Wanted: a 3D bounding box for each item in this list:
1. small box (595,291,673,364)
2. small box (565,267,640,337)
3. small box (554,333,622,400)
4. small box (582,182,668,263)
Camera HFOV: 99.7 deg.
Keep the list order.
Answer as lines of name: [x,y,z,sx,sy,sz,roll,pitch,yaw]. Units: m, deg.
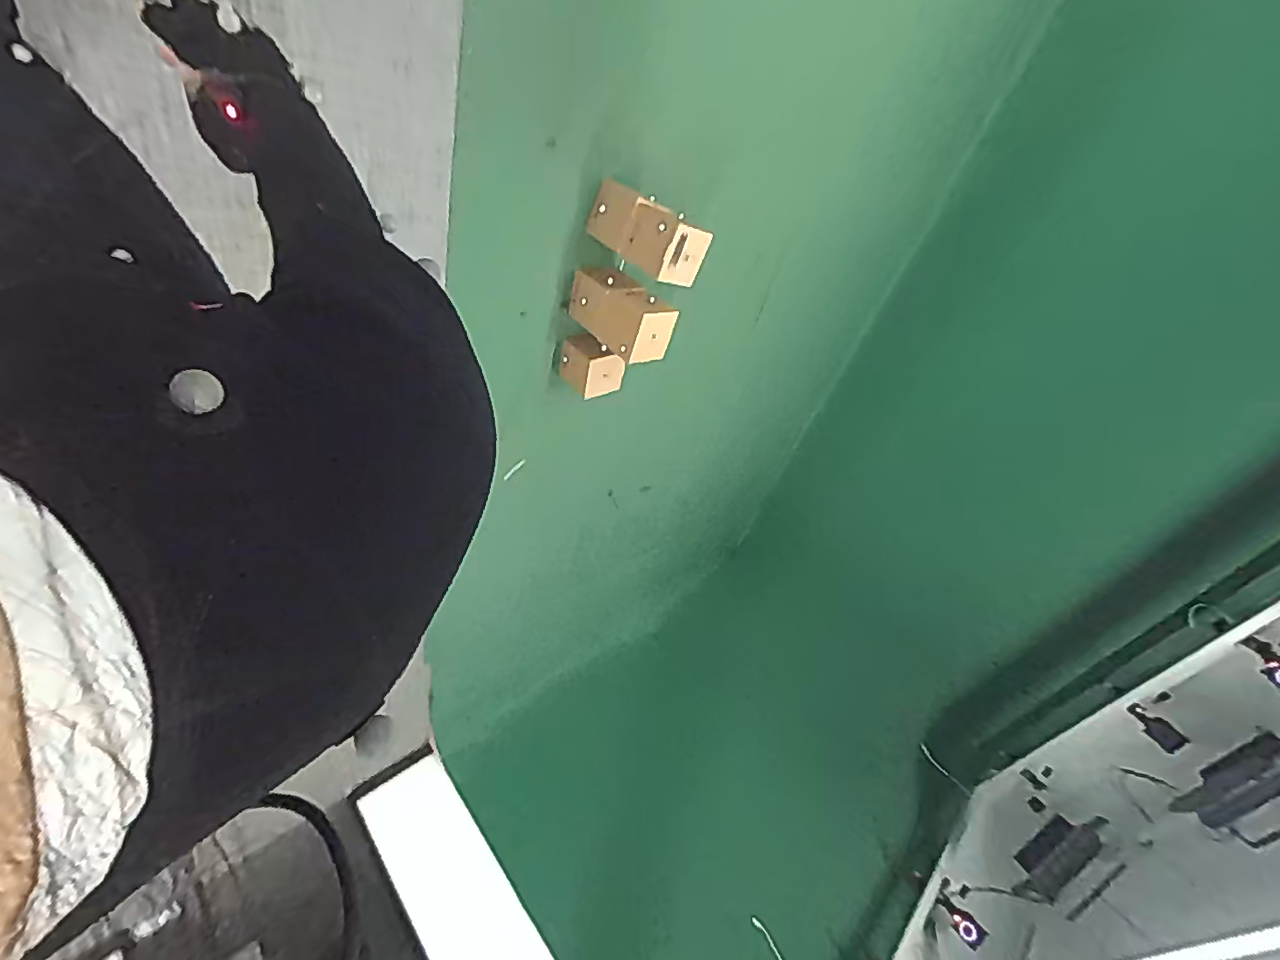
small box: [-0.024,-0.507,1.774,0.168,0.176,0.179,-21,143,-42]
small box: [-0.133,-0.609,1.840,0.179,0.176,0.168,-23,145,-40]
small box: [-0.192,-0.427,1.997,0.179,0.176,0.168,-25,145,-37]
small box: [-0.050,-0.808,1.697,0.179,0.176,0.168,-10,134,-49]
